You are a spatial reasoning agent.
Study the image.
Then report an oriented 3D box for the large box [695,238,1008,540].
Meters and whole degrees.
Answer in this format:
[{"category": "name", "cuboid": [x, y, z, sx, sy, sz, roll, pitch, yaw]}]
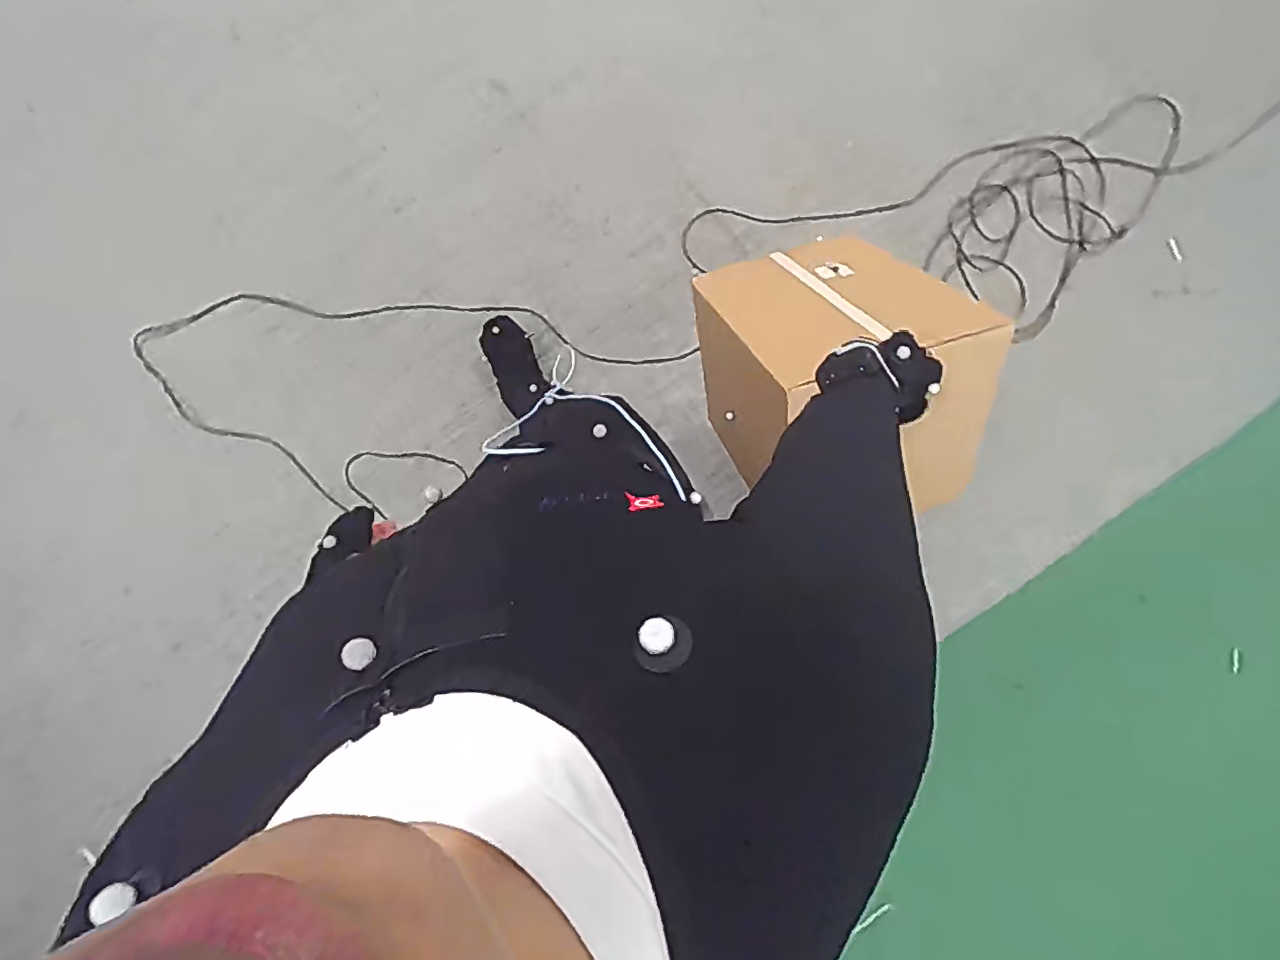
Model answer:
[{"category": "large box", "cuboid": [0.317, -0.169, 0.934, 0.320, 0.408, 0.320, -16, 131, -3]}]
